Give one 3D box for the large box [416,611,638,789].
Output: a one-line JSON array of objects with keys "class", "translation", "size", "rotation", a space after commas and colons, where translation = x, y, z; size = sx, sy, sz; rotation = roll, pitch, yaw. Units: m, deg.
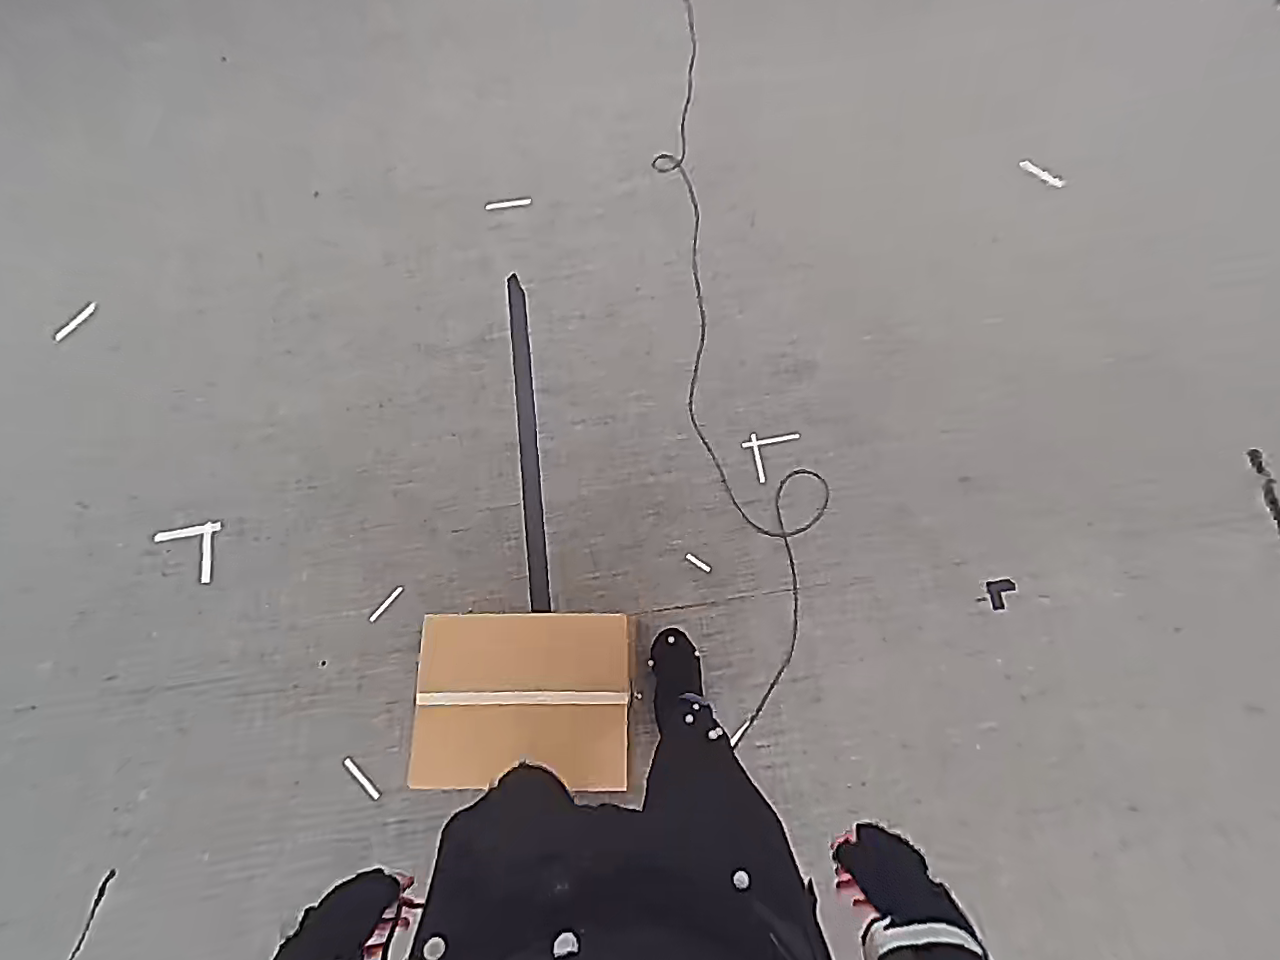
[{"class": "large box", "translation": [-0.211, 0.449, 1.163], "size": [0.408, 0.320, 0.320], "rotation": [-1, 76, 2]}]
